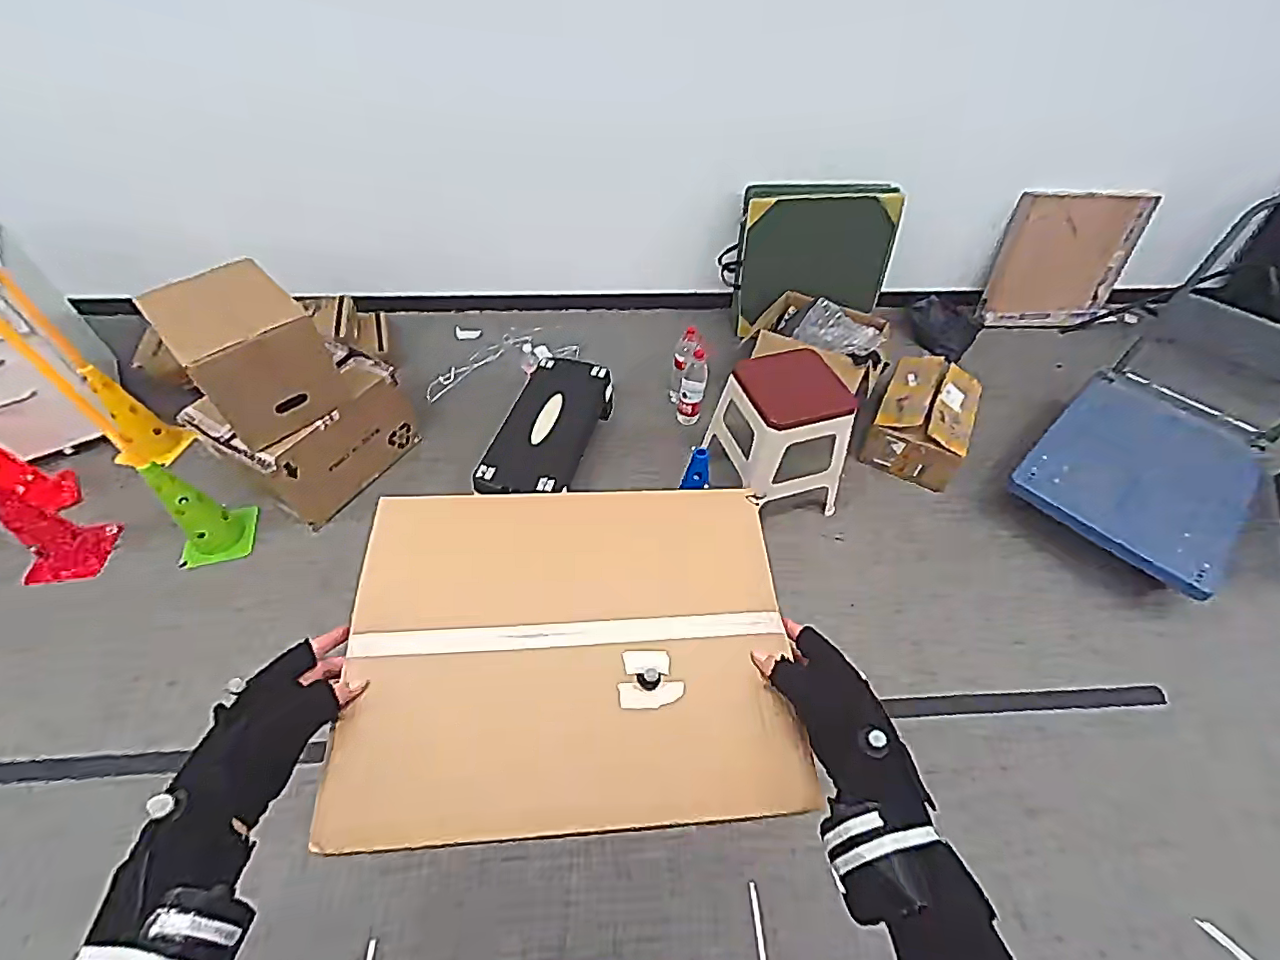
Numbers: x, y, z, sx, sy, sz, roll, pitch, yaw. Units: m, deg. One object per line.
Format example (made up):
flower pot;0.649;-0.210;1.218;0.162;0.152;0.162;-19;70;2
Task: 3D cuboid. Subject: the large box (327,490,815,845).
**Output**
large box;-0.072;0.225;0.639;0.408;0.320;0.320;0;58;-7
